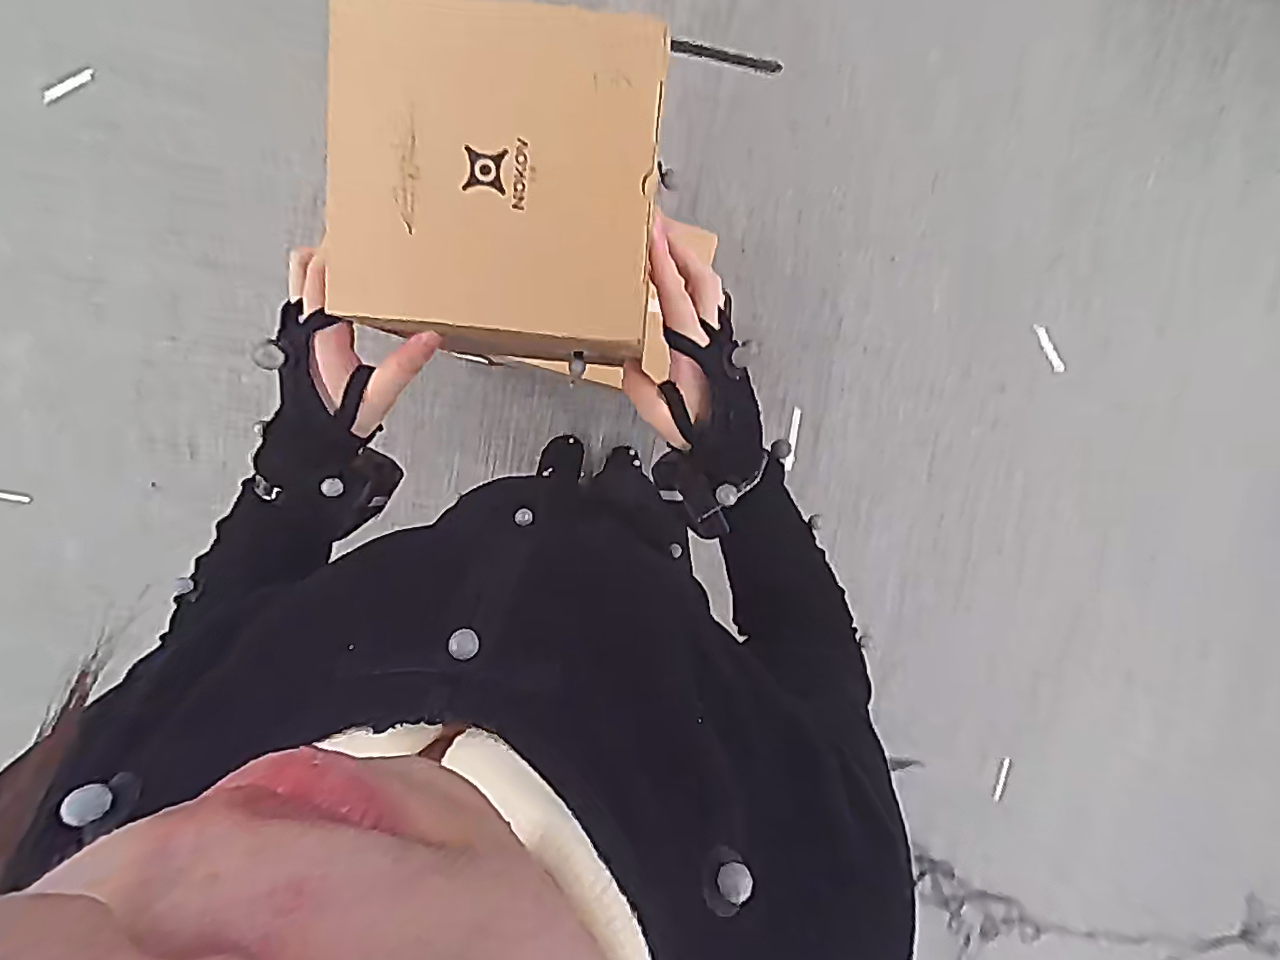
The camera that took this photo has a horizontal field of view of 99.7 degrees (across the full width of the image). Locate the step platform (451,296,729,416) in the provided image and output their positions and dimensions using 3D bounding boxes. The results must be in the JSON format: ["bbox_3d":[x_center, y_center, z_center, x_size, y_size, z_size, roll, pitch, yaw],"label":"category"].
[{"bbox_3d":[-0.130,-0.384,1.334,0.684,0.204,0.286,17,95,-5],"label":"step platform"}]

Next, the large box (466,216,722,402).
[{"bbox_3d":[-0.086,-0.354,1.100,0.408,0.320,0.320,15,95,-5],"label":"large box"}]

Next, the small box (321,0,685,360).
[{"bbox_3d":[-0.072,-0.175,0.353,0.179,0.176,0.168,6,96,0],"label":"small box"}]
